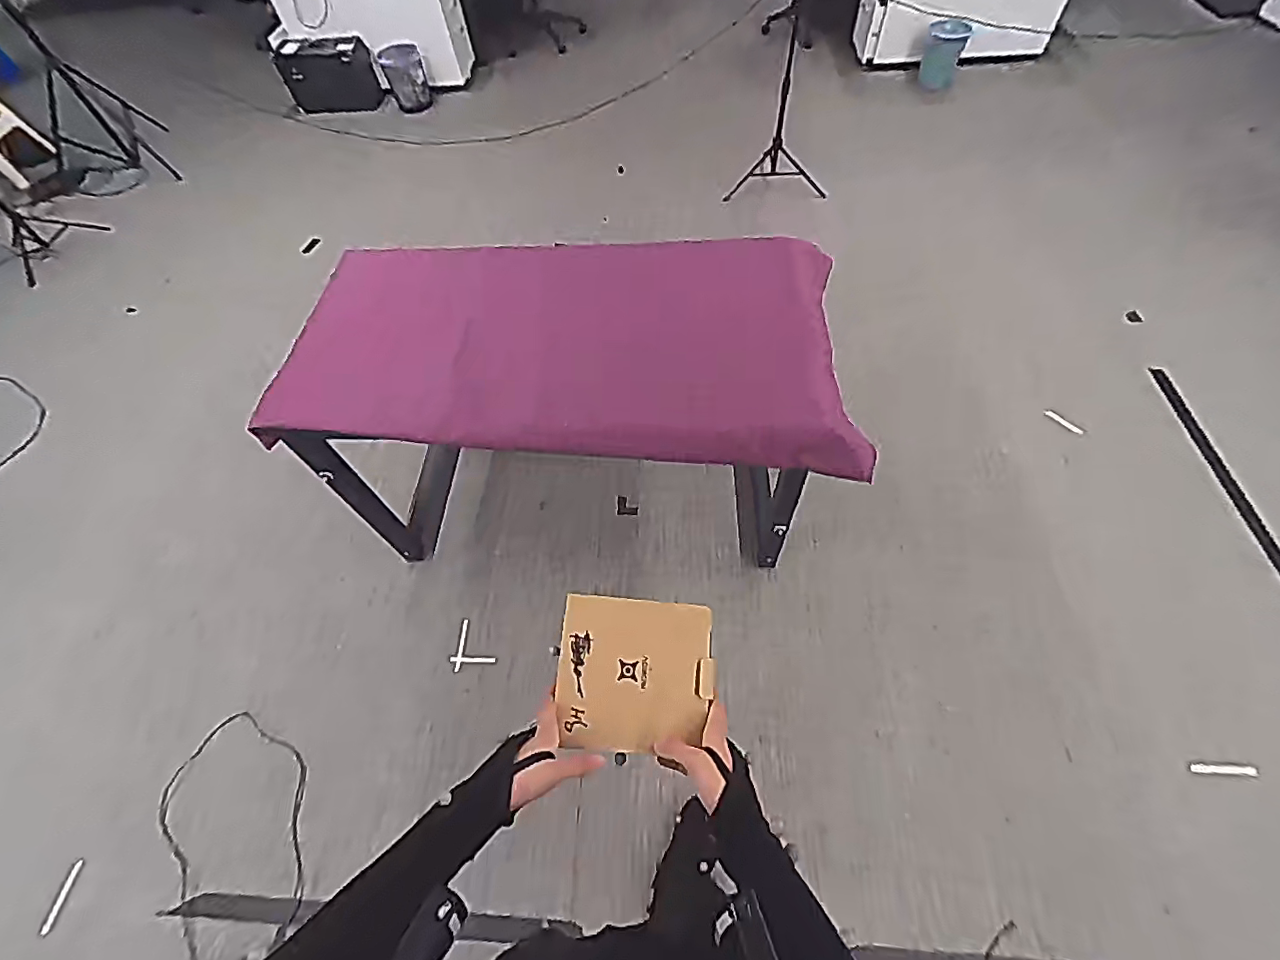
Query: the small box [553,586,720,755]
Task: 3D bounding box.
[{"bbox_3d":[-0.008,0.239,0.671,0.179,0.176,0.168,7,64,-4],"label":"small box"}]
